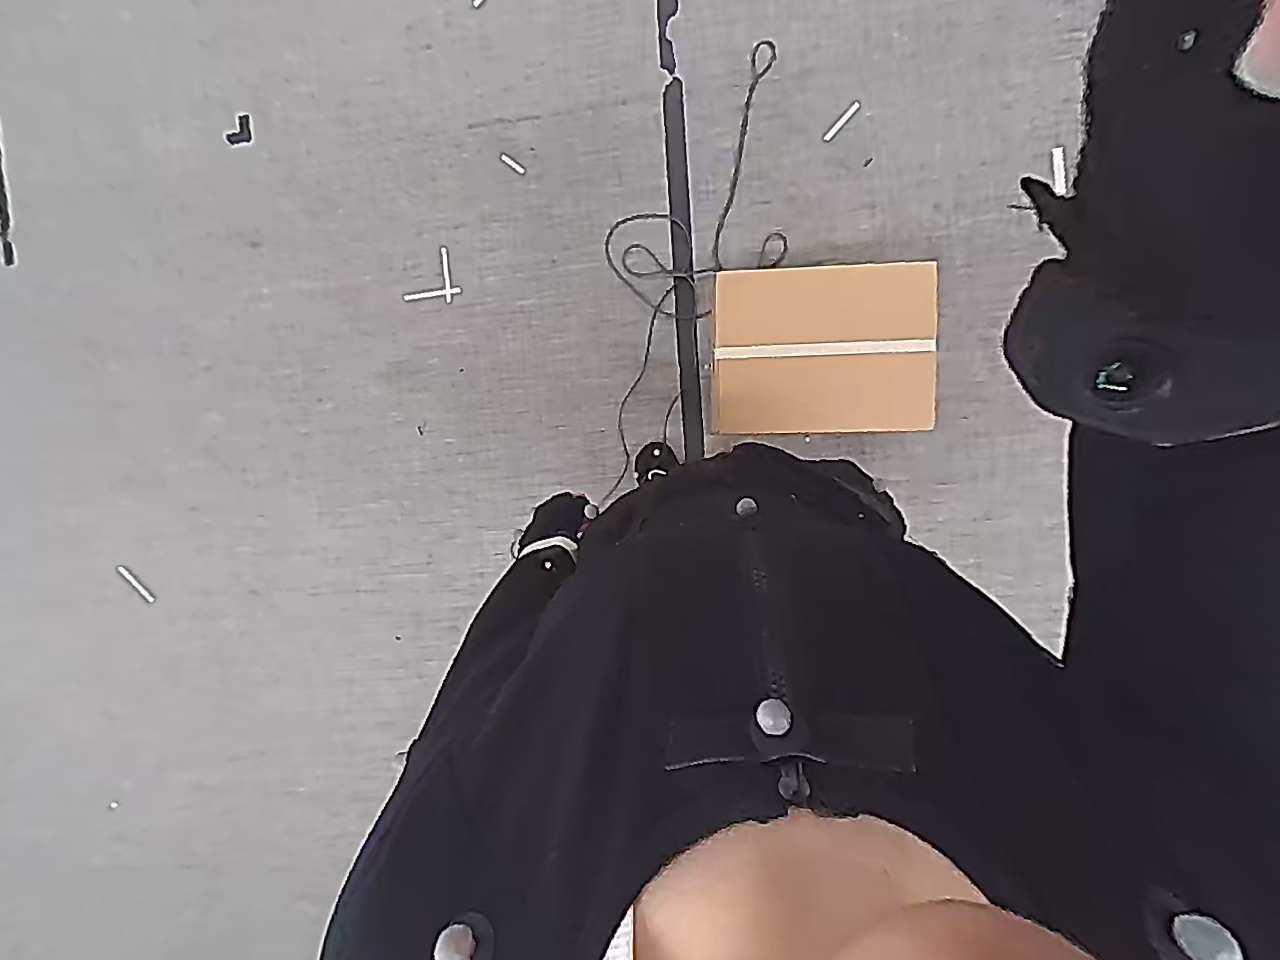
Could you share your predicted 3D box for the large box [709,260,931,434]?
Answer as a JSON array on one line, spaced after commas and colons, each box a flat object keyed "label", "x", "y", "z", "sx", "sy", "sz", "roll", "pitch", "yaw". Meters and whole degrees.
[{"label": "large box", "x": 0.359, "y": -0.263, "z": 1.180, "sx": 0.408, "sy": 0.320, "sz": 0.320, "roll": 0, "pitch": 95, "yaw": 6}]
